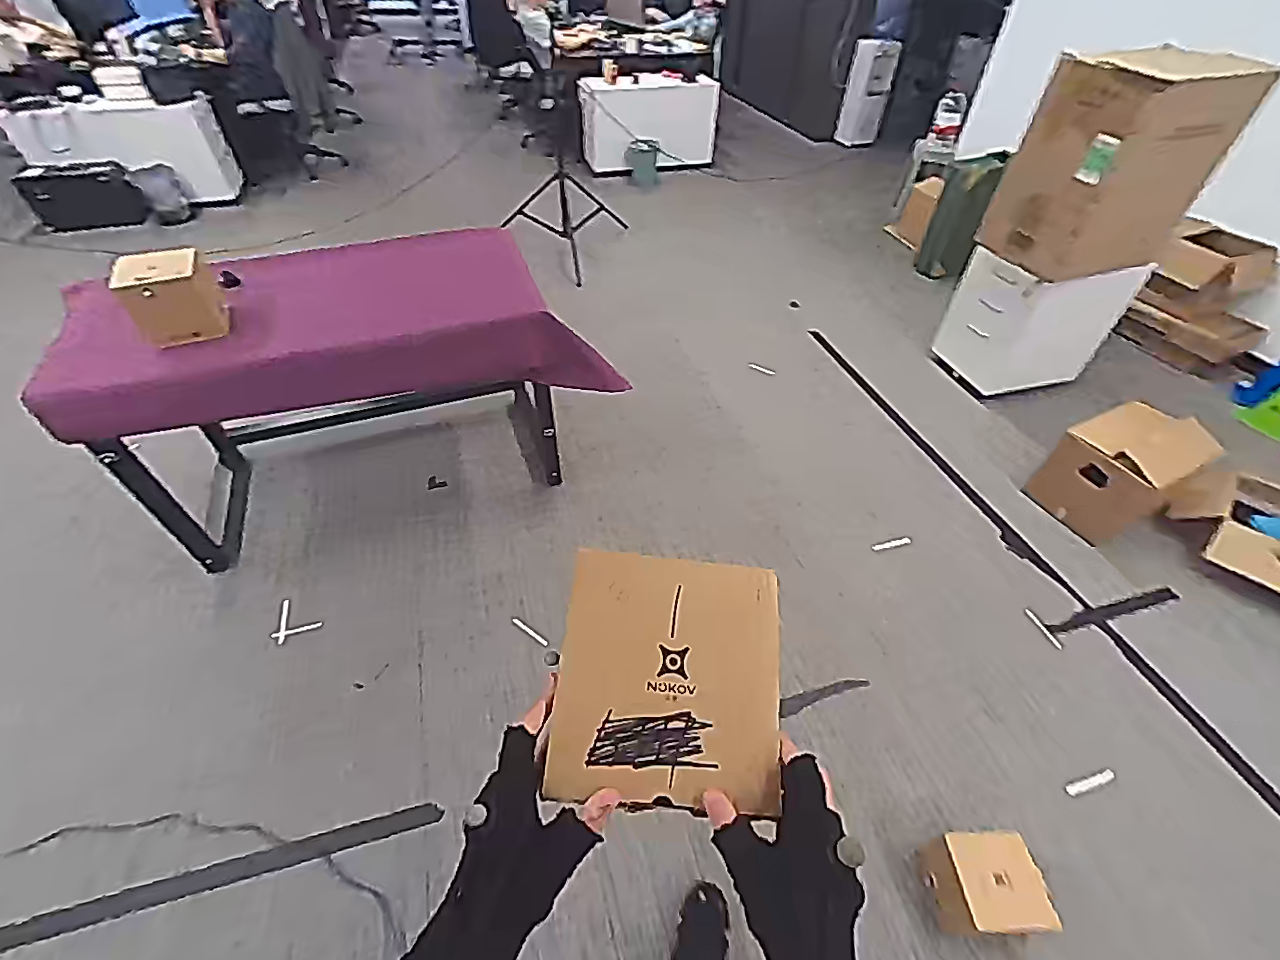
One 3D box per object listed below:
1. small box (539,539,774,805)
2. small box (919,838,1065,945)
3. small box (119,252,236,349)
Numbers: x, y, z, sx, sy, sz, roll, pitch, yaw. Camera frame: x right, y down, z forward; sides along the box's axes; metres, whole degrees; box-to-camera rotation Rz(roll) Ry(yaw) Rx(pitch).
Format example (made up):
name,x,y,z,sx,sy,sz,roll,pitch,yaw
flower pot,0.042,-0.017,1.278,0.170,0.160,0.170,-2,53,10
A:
name,x,y,z,sx,sy,sz,roll,pitch,yaw
small box,0.012,0.168,0.475,0.168,0.176,0.179,7,64,-4
small box,0.743,0.886,1.165,0.179,0.176,0.168,-1,45,-1
small box,-1.167,-0.459,1.382,0.168,0.176,0.179,-19,49,-19
